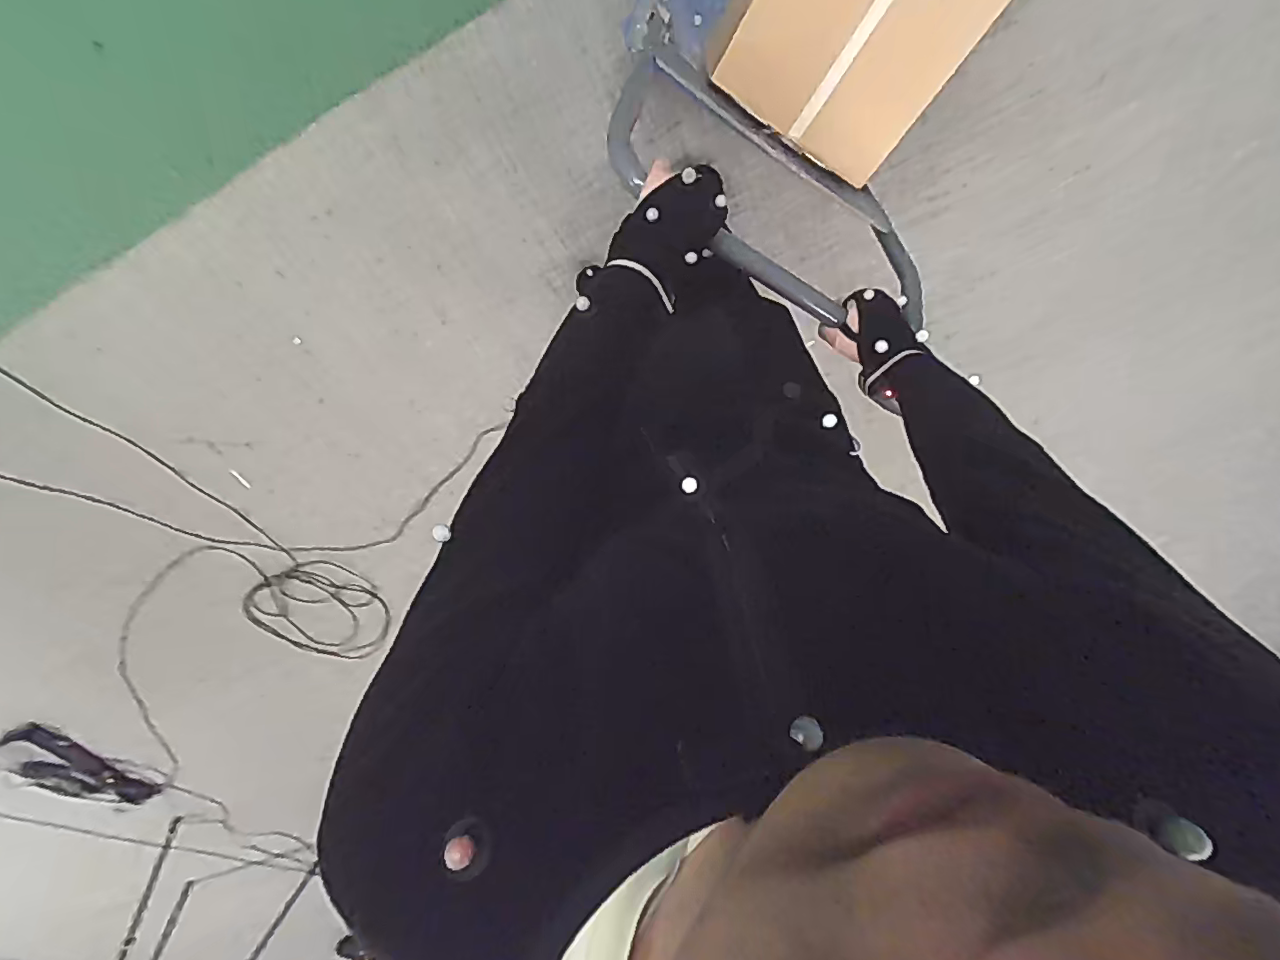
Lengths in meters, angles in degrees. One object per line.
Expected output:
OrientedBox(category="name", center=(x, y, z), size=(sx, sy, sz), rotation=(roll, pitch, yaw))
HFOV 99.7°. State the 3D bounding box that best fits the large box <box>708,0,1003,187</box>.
OrientedBox(category="large box", center=(0.345, -0.783, 0.873), size=(0.320, 0.320, 0.408), rotation=(24, 131, -19))
